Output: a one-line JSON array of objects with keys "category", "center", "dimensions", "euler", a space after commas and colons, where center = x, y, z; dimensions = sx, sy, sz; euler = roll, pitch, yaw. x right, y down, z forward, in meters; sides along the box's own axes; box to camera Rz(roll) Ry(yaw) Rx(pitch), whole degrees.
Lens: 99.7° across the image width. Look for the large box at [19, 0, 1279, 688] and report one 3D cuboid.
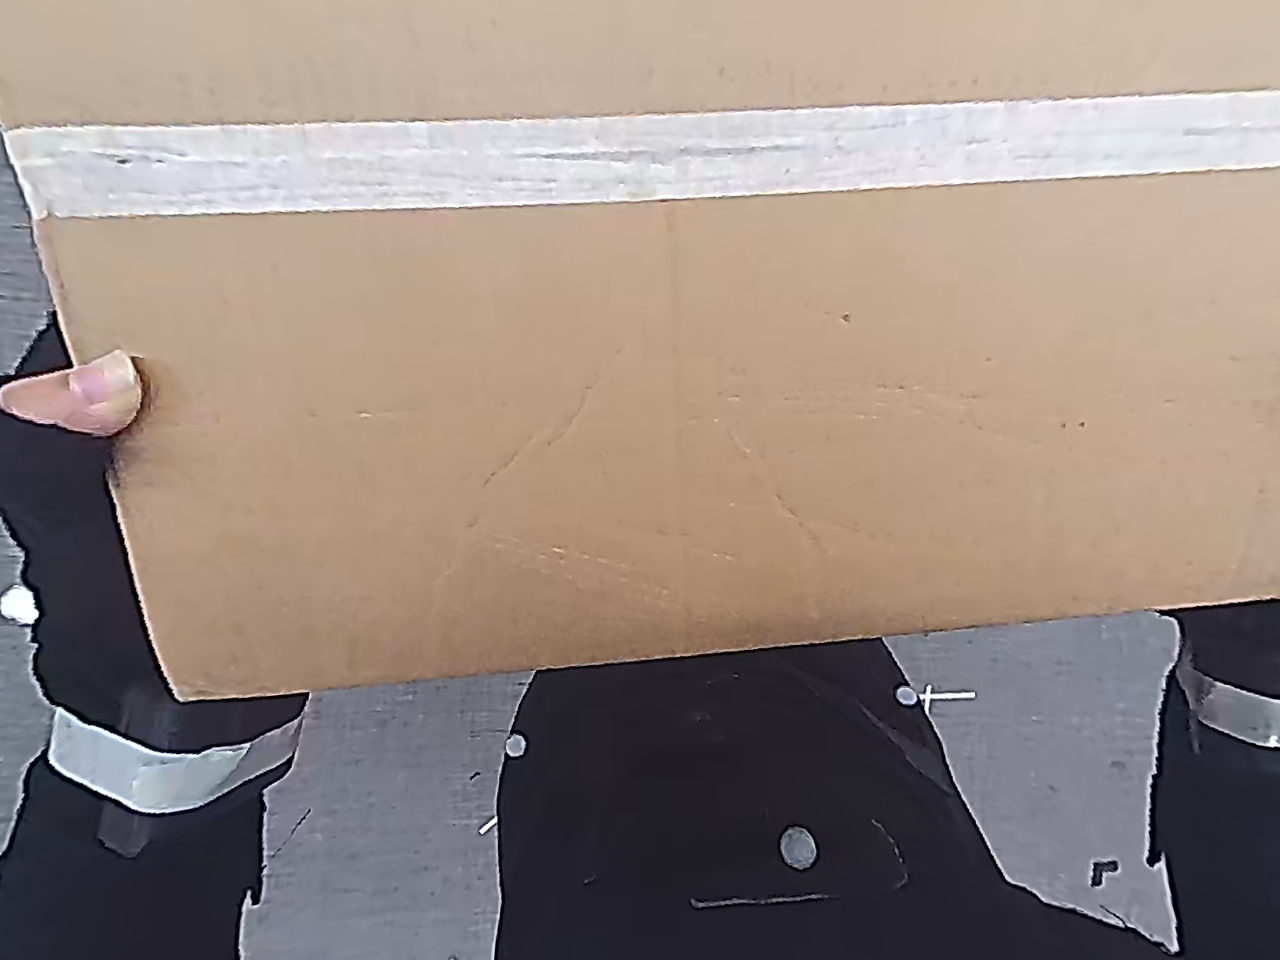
[{"category": "large box", "center": [0.028, -0.125, 0.312], "dimensions": [0.408, 0.320, 0.320], "euler": [-4, 103, -4]}]
